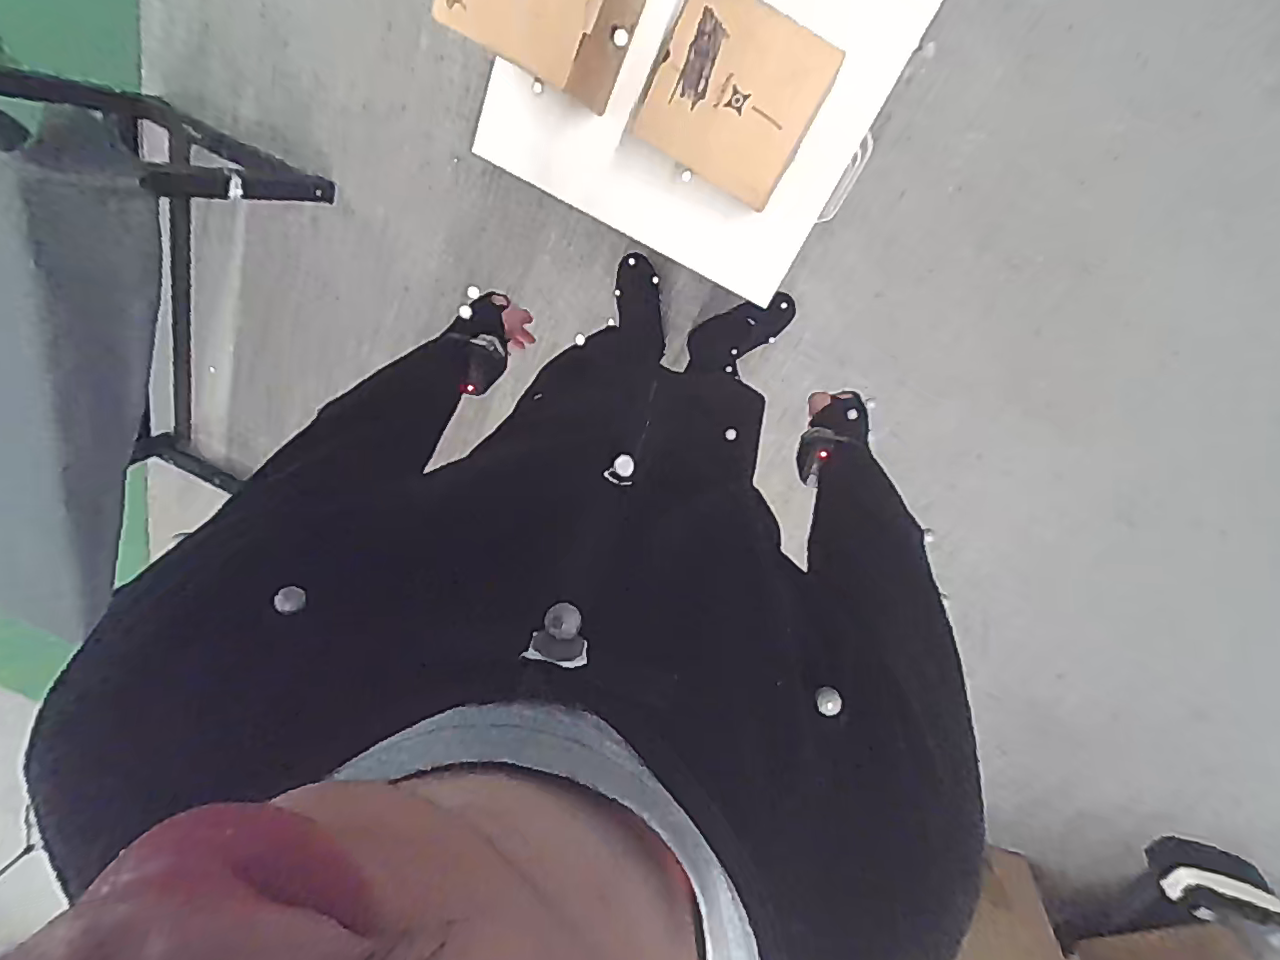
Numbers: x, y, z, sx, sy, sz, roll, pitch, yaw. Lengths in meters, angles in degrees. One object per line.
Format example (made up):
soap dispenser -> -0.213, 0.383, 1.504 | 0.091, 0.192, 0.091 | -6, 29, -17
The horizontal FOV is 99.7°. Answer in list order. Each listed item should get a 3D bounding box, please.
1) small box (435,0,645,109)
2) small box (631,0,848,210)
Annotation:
small box -> -0.106, -0.575, 0.645 | 0.179, 0.176, 0.168 | 28, 119, -2
small box -> 0.117, -0.443, 0.648 | 0.179, 0.176, 0.168 | 31, 119, -1
